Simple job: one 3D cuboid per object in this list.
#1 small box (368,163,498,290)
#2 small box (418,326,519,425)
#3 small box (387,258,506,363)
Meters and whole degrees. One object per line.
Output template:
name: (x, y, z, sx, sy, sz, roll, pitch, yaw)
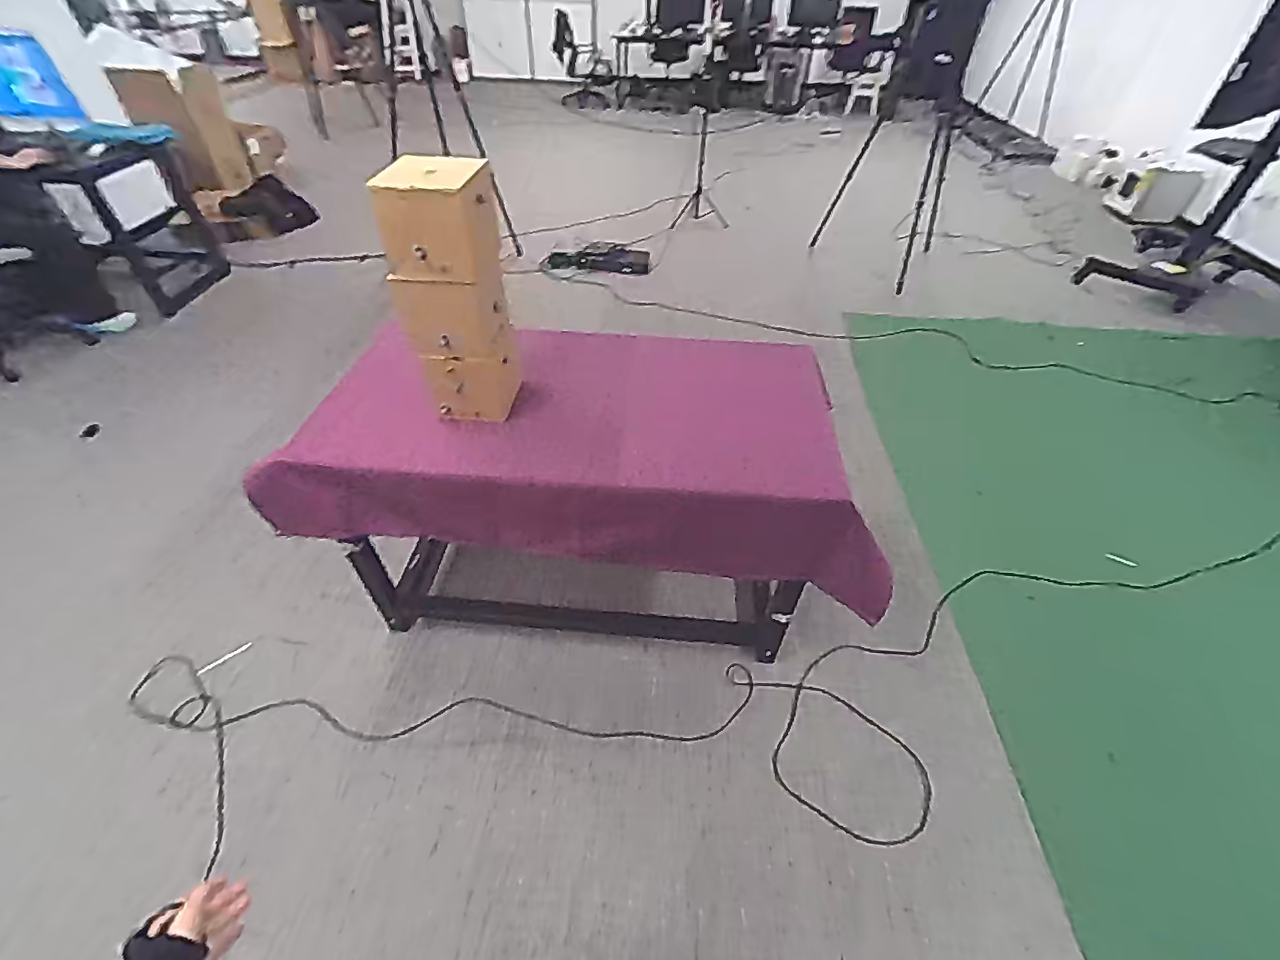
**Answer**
small box: (-0.378, -0.482, 1.028, 0.168, 0.176, 0.179, 4, 45, 3)
small box: (-0.385, -0.245, 1.254, 0.168, 0.176, 0.179, 5, 44, 2)
small box: (-0.393, -0.362, 1.138, 0.179, 0.176, 0.168, 6, 44, 3)
